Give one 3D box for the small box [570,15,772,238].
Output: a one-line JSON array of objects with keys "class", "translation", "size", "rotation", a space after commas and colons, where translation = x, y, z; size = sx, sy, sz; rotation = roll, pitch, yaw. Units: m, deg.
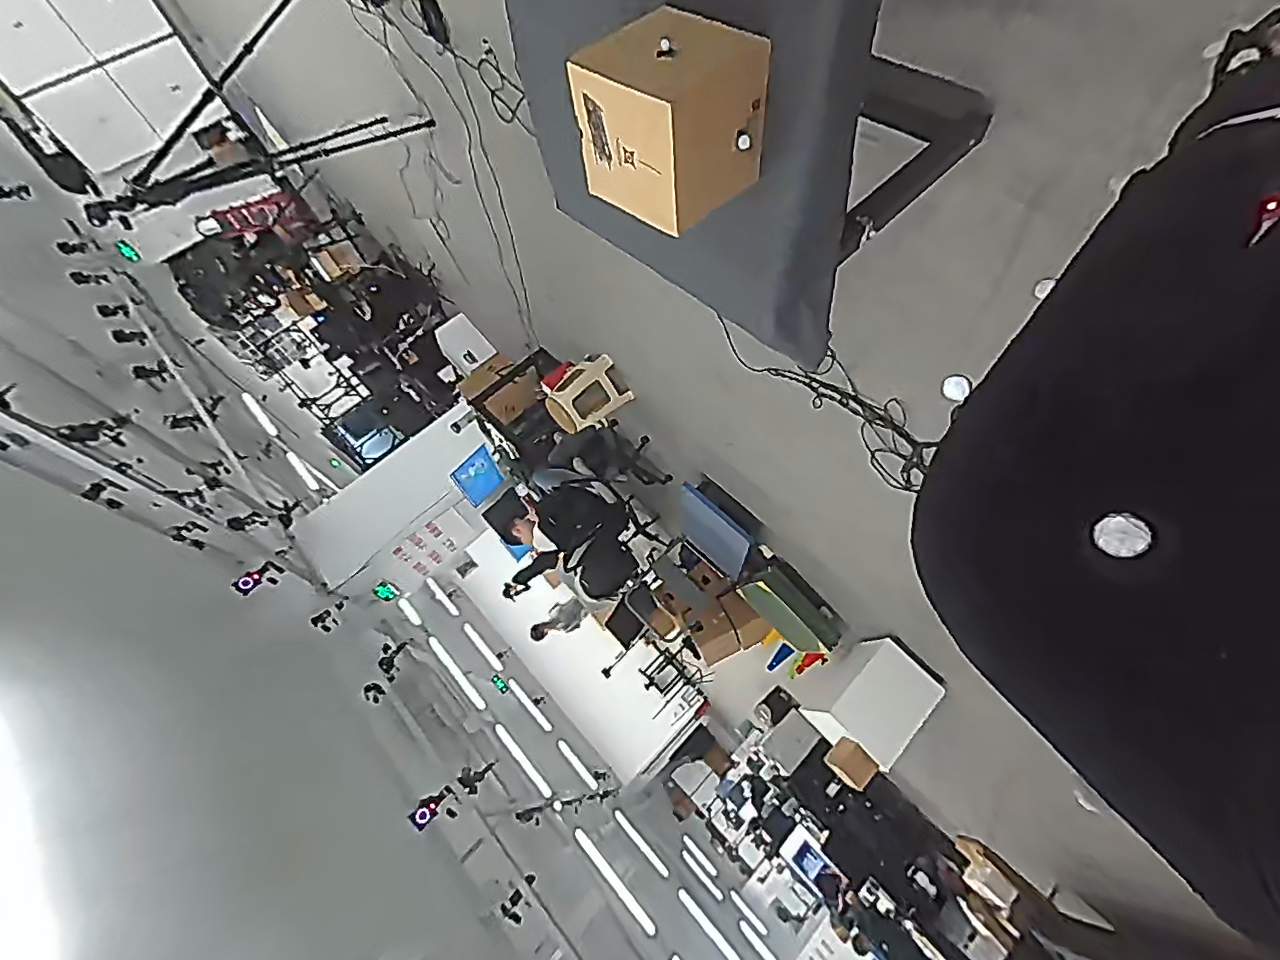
[{"class": "small box", "translation": [0.041, -0.457, 0.695], "size": [0.179, 0.176, 0.168], "rotation": [40, 162, 24]}]
